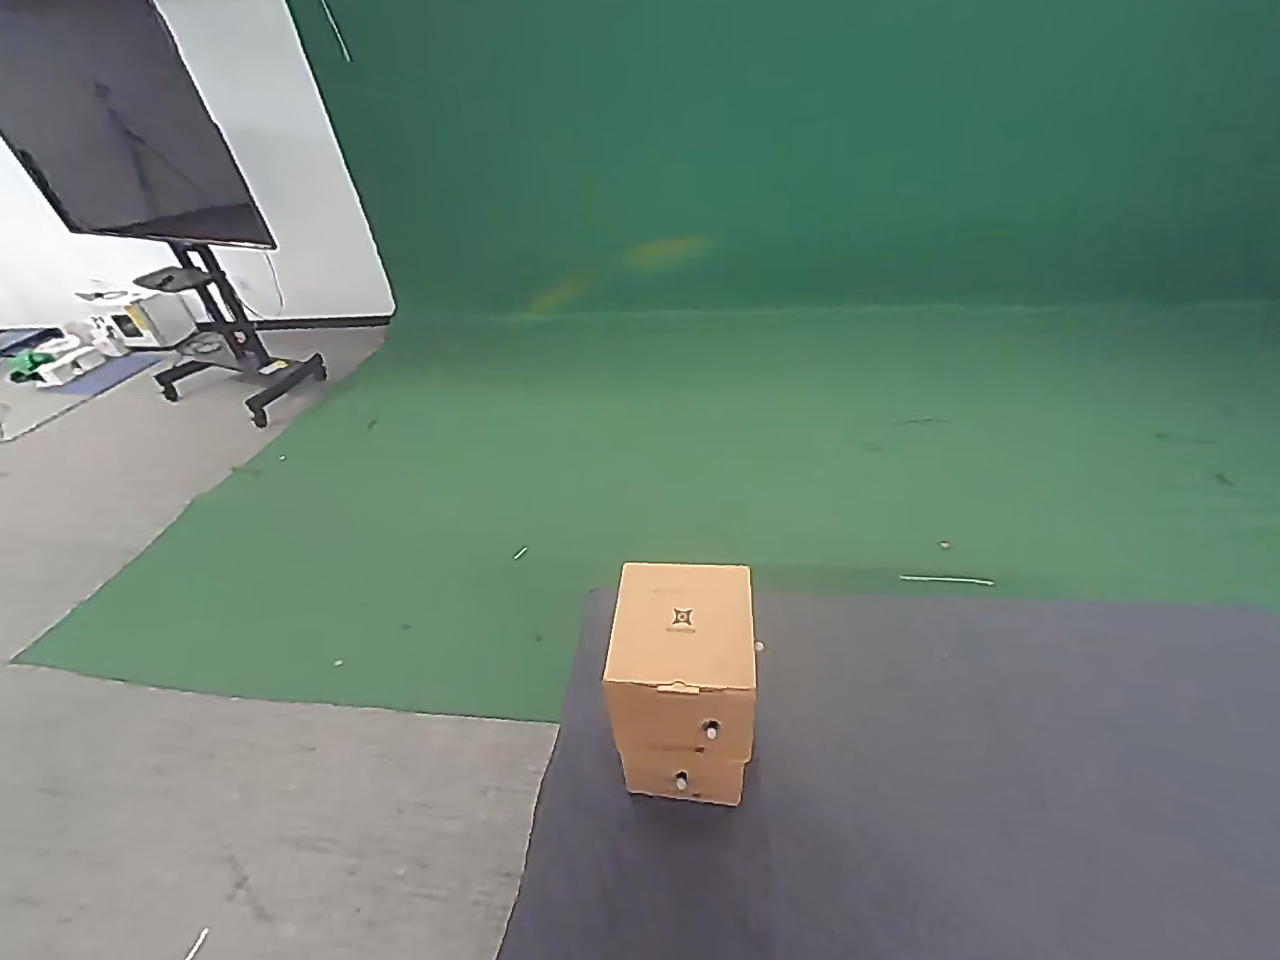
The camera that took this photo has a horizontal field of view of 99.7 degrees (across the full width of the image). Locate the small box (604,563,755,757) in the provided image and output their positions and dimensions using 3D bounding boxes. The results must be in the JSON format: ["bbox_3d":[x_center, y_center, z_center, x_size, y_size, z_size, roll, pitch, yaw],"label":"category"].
[{"bbox_3d":[0.056,0.228,0.689,0.168,0.176,0.179,1,38,7],"label":"small box"}]

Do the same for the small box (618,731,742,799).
[{"bbox_3d":[0.069,0.345,0.802,0.168,0.176,0.179,2,40,9],"label":"small box"}]
